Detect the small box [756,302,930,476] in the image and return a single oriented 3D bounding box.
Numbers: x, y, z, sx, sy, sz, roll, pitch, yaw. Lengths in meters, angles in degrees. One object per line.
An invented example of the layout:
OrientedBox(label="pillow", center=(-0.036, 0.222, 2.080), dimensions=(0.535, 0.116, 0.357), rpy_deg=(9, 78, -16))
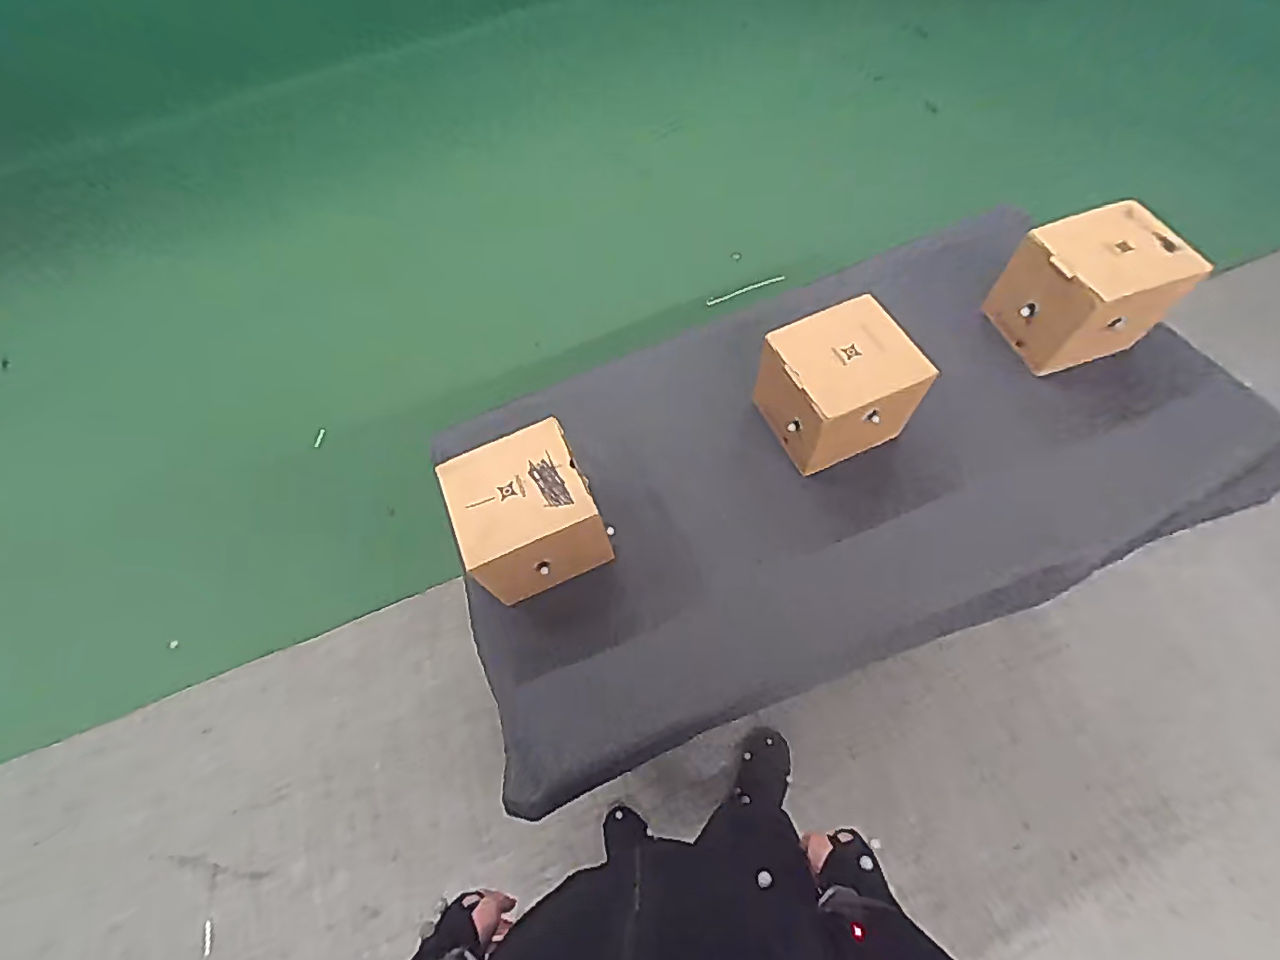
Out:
OrientedBox(label="small box", center=(0.290, -0.131, 0.826), dimensions=(0.179, 0.176, 0.168), rpy_deg=(-22, 64, -8))

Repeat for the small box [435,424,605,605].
OrientedBox(label="small box", center=(-0.159, 0.056, 0.769), dimensions=(0.179, 0.176, 0.168), rpy_deg=(-23, 63, -6))

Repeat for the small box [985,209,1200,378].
OrientedBox(label="small box", center=(0.695, -0.290, 0.865), dimensions=(0.179, 0.176, 0.168), rpy_deg=(-18, 63, -3))
